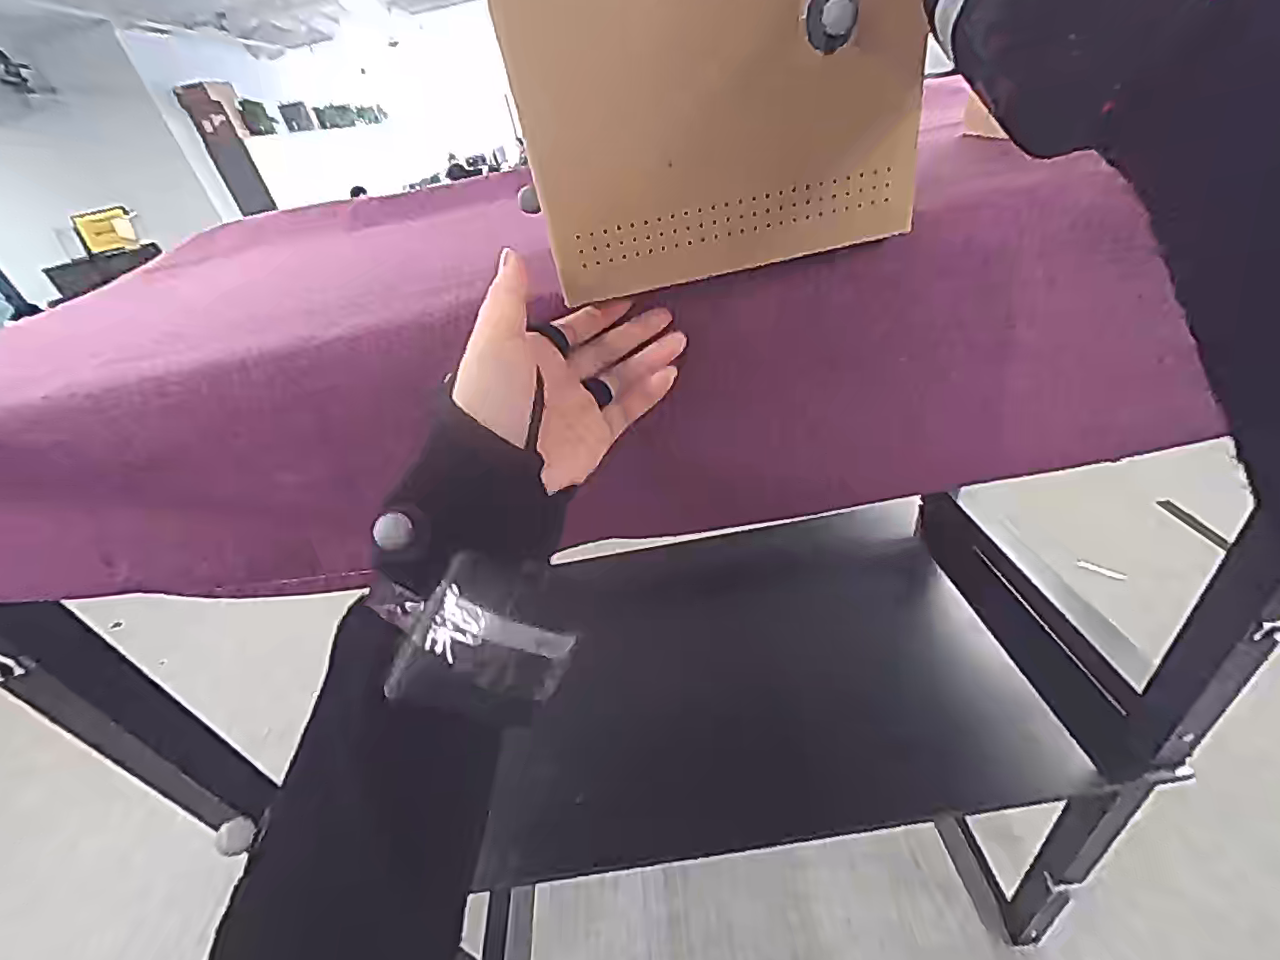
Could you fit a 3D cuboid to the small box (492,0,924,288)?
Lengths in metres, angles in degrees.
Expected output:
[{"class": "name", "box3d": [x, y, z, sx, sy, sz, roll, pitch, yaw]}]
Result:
[{"class": "small box", "box3d": [0.026, -0.219, 0.283, 0.179, 0.176, 0.168, -13, 34, 0]}]

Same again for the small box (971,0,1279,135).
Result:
[{"class": "small box", "box3d": [0.348, -0.338, 0.343, 0.179, 0.176, 0.168, -9, 34, 6]}]
